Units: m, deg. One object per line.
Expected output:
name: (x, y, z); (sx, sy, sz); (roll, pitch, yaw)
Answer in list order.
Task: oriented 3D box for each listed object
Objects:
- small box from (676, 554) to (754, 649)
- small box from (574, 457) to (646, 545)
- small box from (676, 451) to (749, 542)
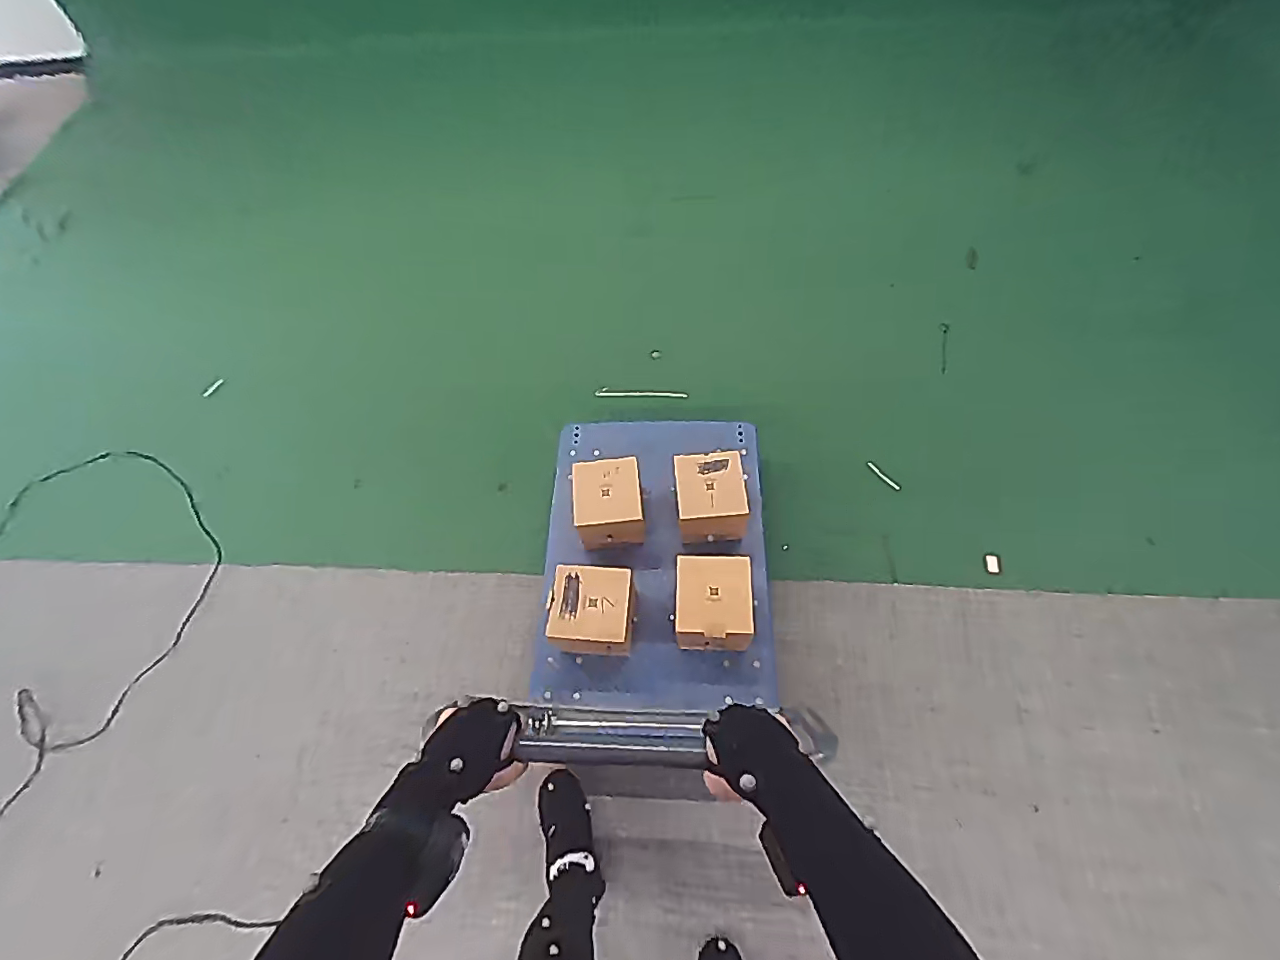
small box: (0.169, 0.285, 1.258); (0.168, 0.176, 0.179); (0, 63, 5)
small box: (-0.075, 0.061, 1.392); (0.168, 0.176, 0.179); (-5, 62, 1)
small box: (0.177, 0.046, 1.381); (0.168, 0.176, 0.179); (-4, 63, 3)
